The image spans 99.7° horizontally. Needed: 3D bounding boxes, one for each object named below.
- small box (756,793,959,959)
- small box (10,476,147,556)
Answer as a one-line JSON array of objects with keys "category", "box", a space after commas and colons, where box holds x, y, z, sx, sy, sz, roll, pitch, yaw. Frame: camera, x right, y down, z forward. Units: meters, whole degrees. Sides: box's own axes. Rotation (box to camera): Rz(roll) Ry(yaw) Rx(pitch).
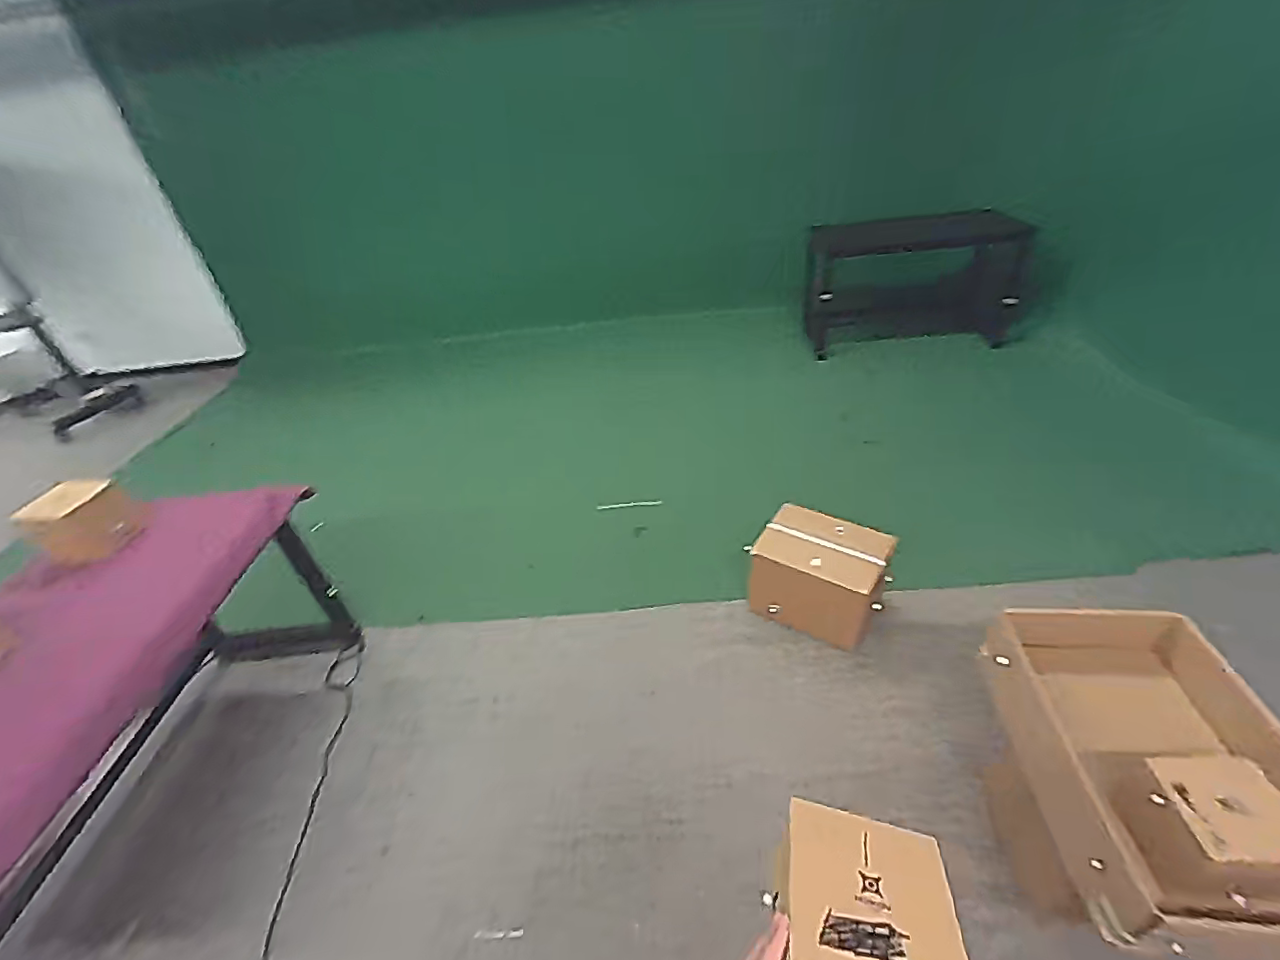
[{"category": "small box", "box": [0.223, 0.493, 0.587, 0.168, 0.176, 0.179, 10, 23, 11]}, {"category": "small box", "box": [-1.597, 0.105, 1.550, 0.179, 0.176, 0.168, -1, 38, 7]}]
